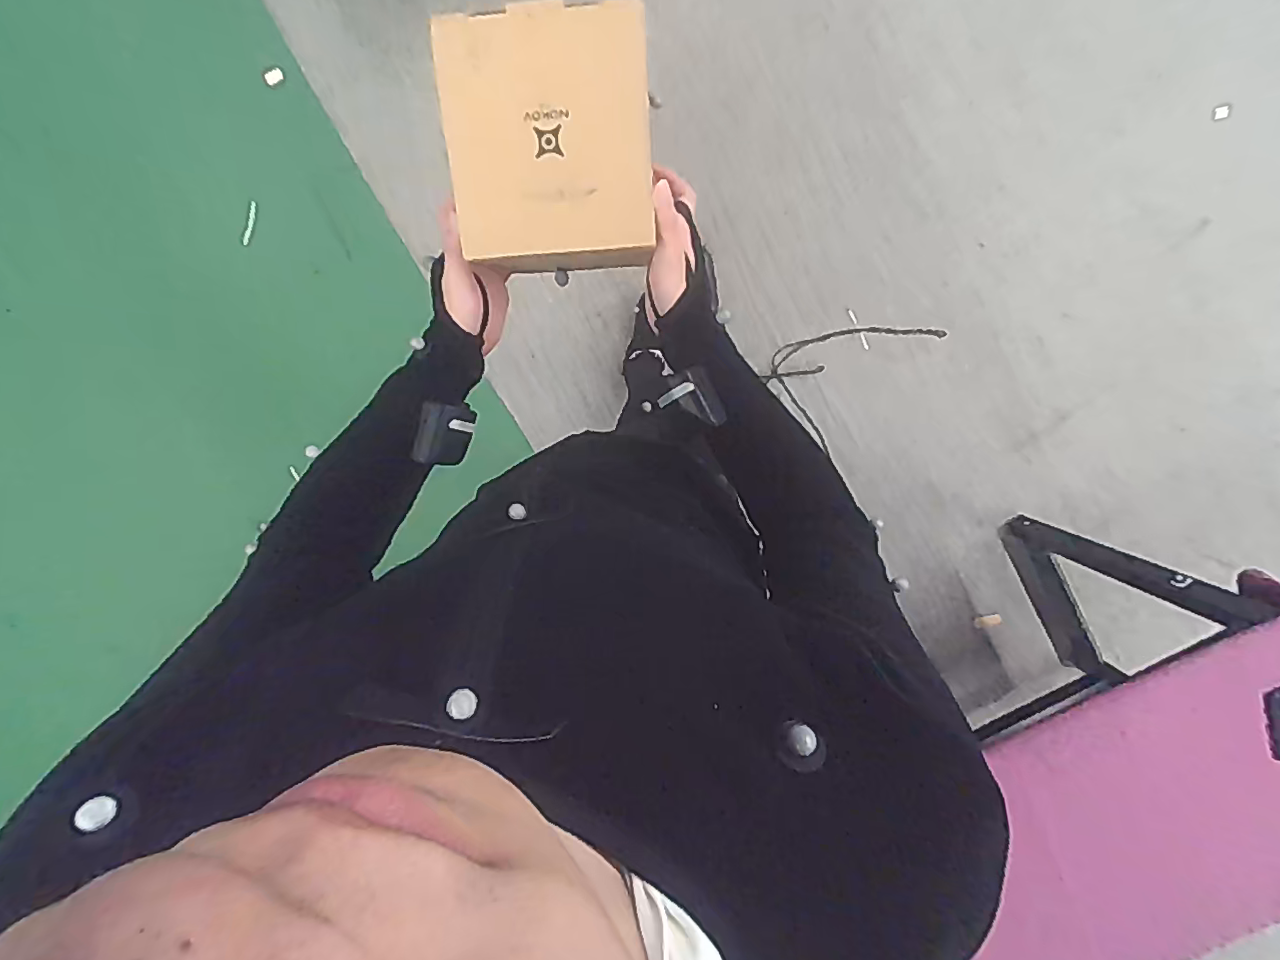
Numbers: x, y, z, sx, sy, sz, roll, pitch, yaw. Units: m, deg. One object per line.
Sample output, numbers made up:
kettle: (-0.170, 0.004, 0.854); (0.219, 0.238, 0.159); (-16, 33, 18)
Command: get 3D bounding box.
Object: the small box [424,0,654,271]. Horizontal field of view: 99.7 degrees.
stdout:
small box: (-0.074, -0.297, 0.496); (0.168, 0.176, 0.179); (-3, 106, 2)
